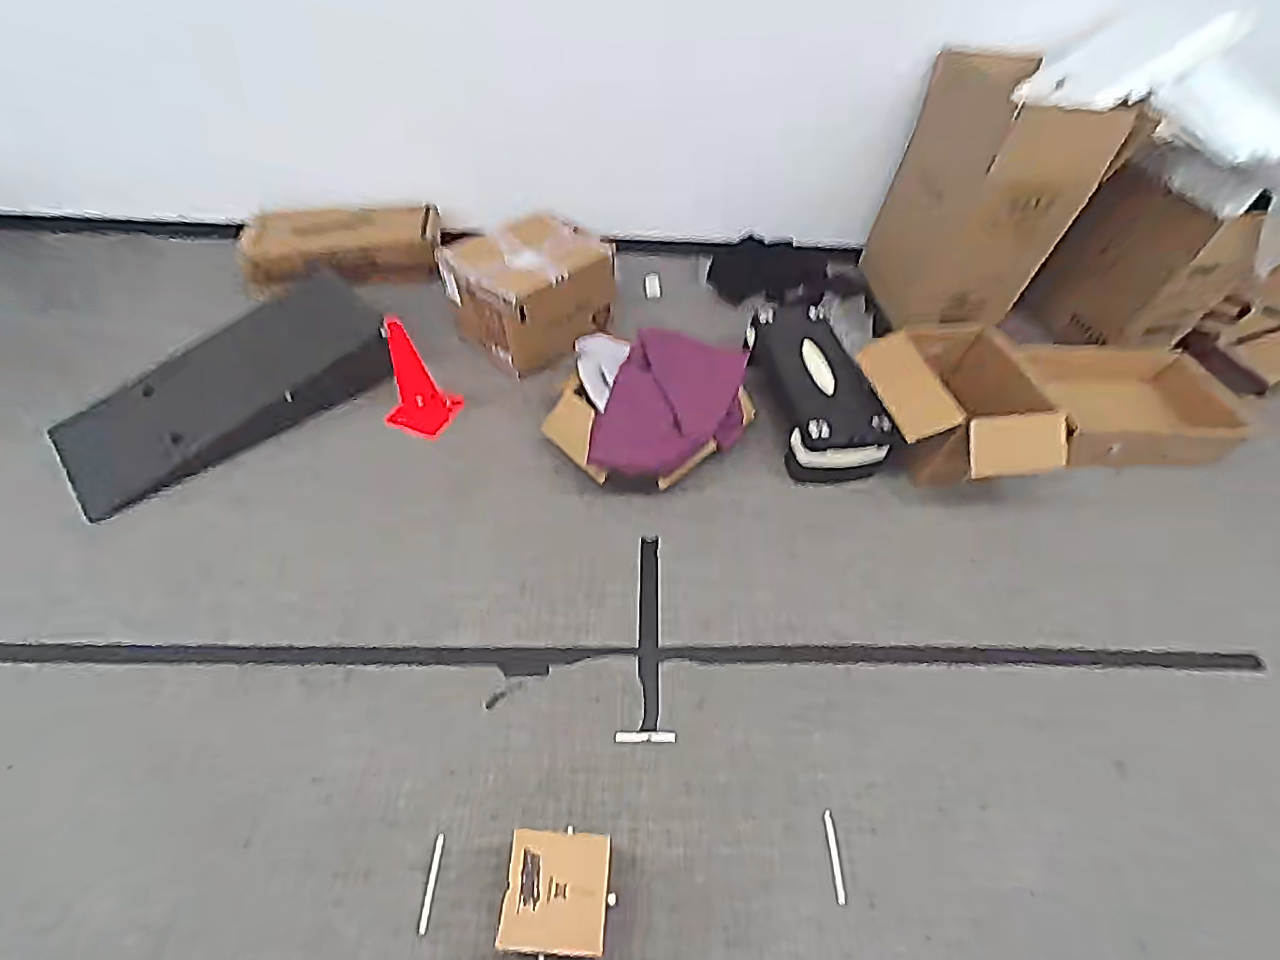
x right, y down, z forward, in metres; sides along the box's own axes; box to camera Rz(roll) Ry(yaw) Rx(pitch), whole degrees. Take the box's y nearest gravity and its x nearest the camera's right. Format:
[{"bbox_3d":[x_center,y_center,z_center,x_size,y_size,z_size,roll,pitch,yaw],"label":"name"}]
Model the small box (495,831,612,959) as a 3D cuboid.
[{"bbox_3d":[-0.146,0.751,0.981,0.179,0.176,0.168,5,52,0],"label":"small box"}]
